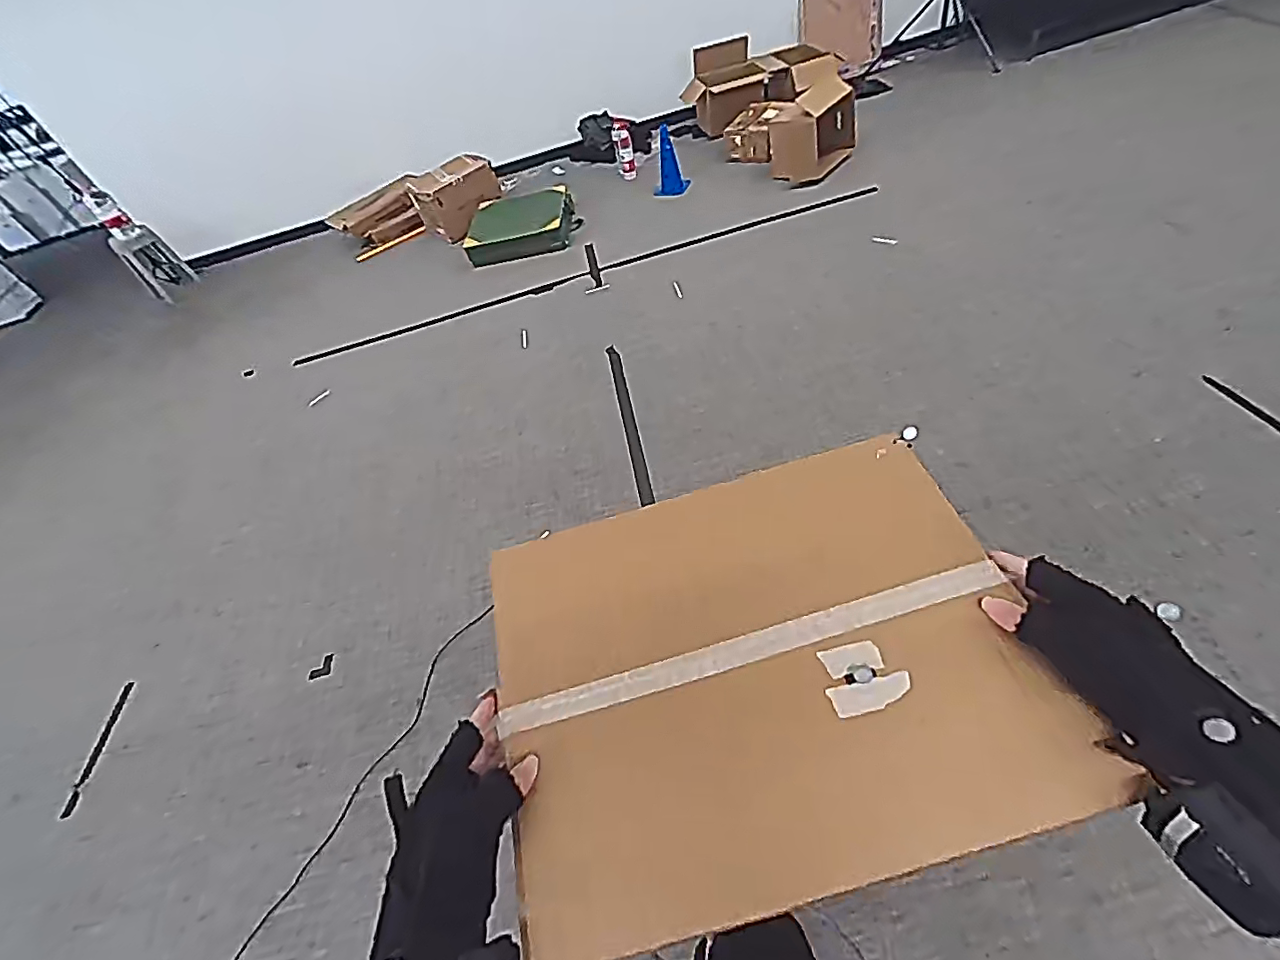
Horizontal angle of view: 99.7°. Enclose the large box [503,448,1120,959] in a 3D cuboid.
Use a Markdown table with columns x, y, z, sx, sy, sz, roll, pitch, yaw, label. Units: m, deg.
| x | y | z | sx | sy | sz | roll | pitch | yaw | label |
| --- | --- | --- | --- | --- | --- | --- | --- | --- | --- |
| 0.115 | 0.228 | 0.555 | 0.408 | 0.320 | 0.320 | -17 | 53 | 0 | large box |
